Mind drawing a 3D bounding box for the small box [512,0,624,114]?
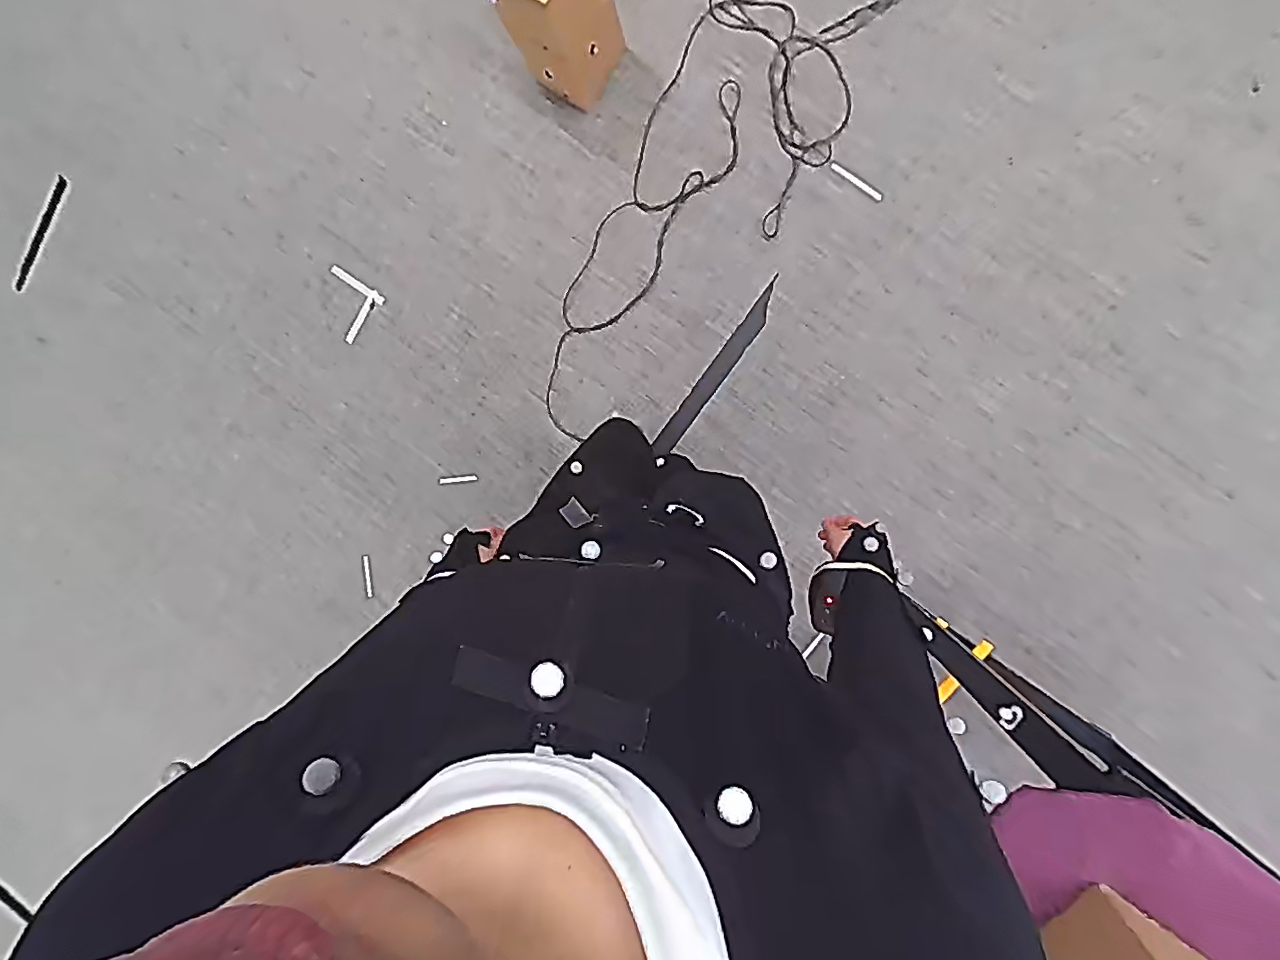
[{"bbox_3d":[-0.154,-0.990,1.233,0.168,0.176,0.179,35,99,4],"label":"small box"}]
